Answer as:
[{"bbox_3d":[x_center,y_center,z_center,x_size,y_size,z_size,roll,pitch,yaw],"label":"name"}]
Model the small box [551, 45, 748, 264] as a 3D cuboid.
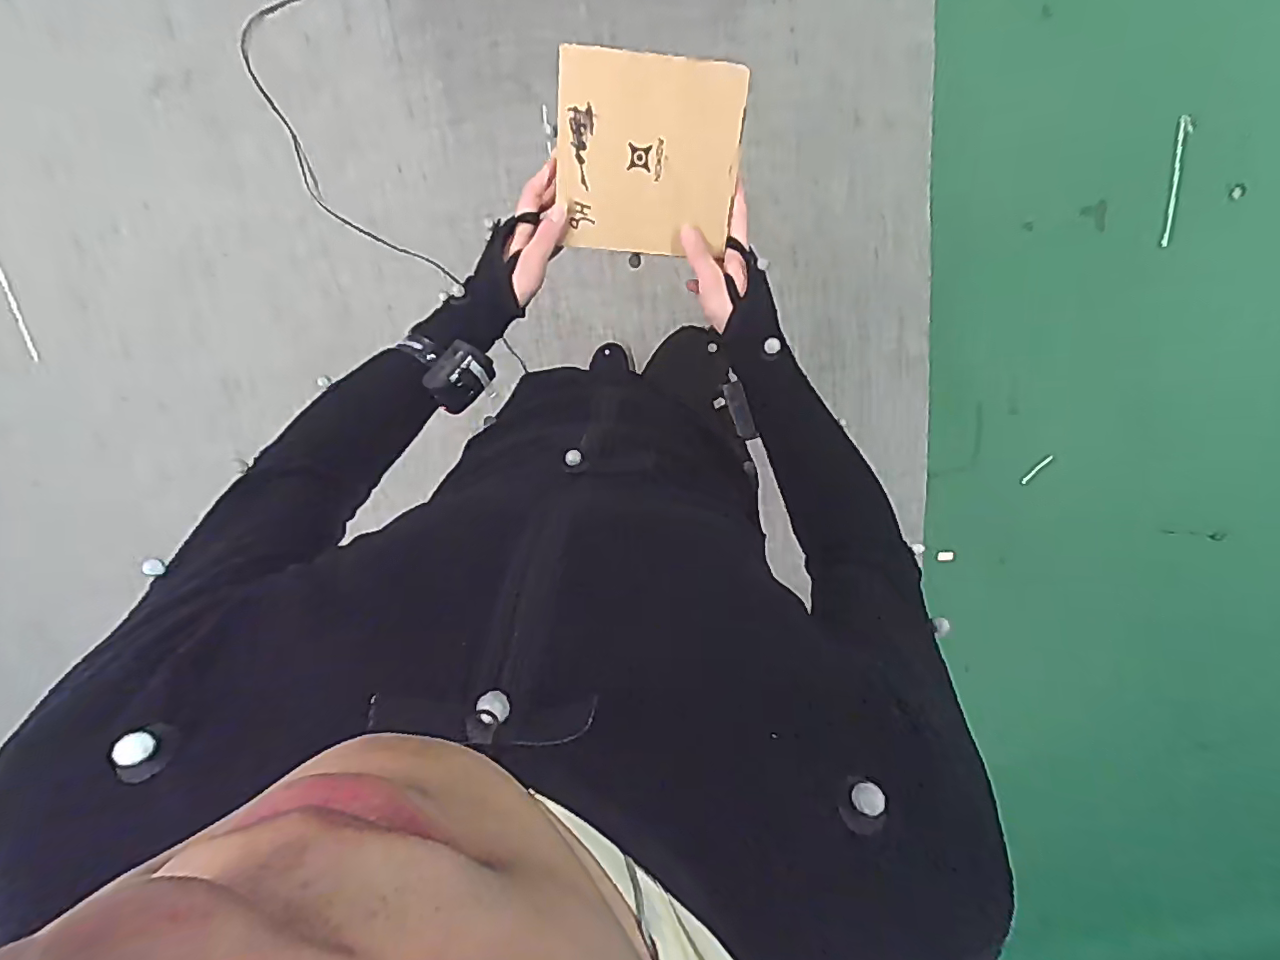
[{"bbox_3d":[0.000,-0.333,0.587,0.179,0.176,0.168,4,112,-5],"label":"small box"}]
